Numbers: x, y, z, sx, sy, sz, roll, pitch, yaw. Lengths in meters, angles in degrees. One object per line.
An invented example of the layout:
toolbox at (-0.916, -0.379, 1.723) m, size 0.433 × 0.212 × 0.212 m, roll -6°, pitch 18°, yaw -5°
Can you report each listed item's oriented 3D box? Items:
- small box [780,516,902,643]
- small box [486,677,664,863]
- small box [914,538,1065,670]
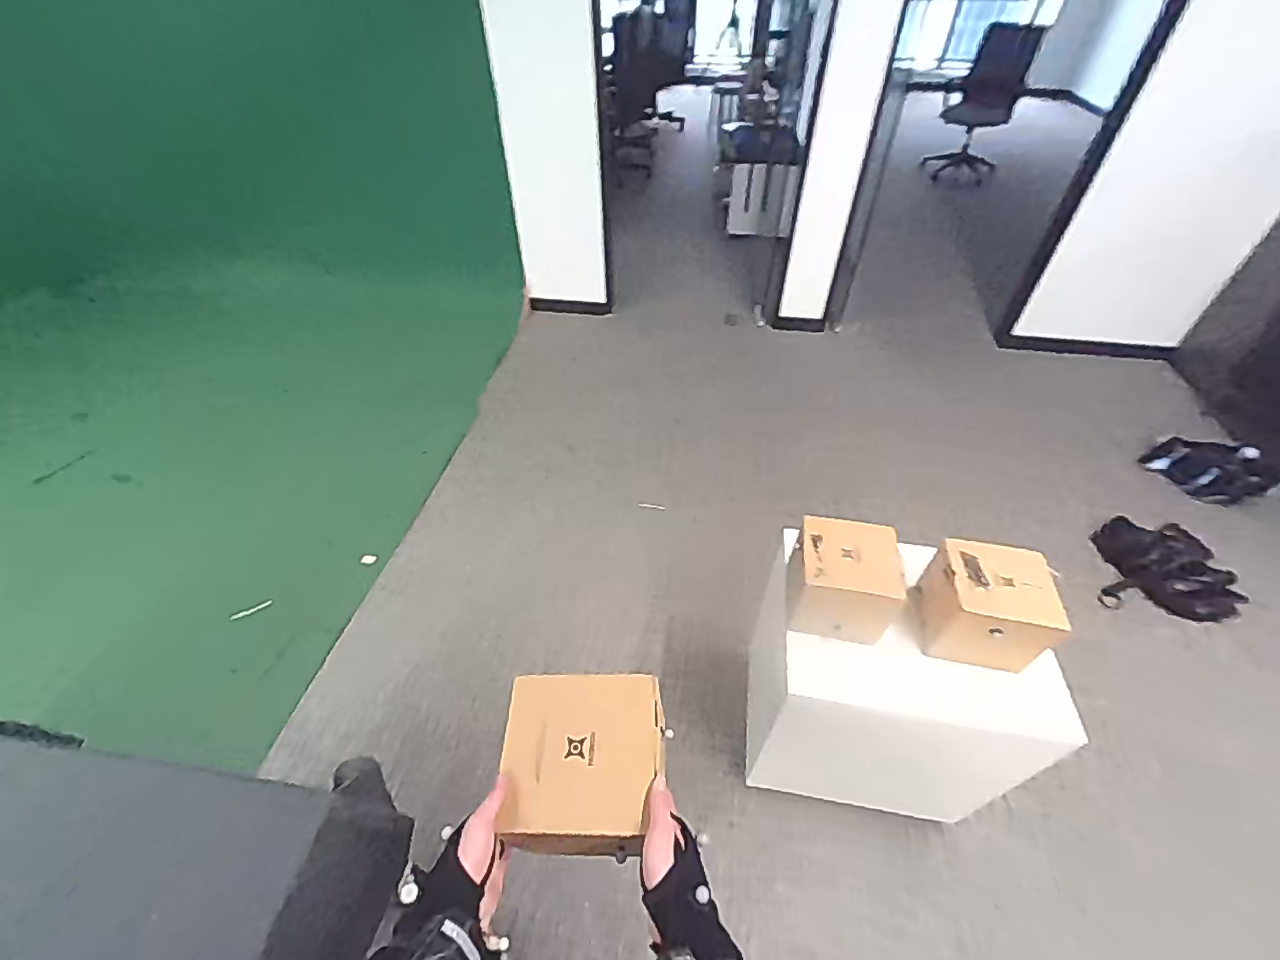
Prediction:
small box at (0.381, 0.197, 1.052) m, size 0.179 × 0.176 × 0.168 m, roll 9°, pitch 46°, yaw 6°
small box at (-0.061, 0.350, 0.652) m, size 0.179 × 0.176 × 0.168 m, roll -3°, pitch 48°, yaw 5°
small box at (0.635, 0.235, 1.015) m, size 0.179 × 0.176 × 0.168 m, roll 9°, pitch 46°, yaw 8°
